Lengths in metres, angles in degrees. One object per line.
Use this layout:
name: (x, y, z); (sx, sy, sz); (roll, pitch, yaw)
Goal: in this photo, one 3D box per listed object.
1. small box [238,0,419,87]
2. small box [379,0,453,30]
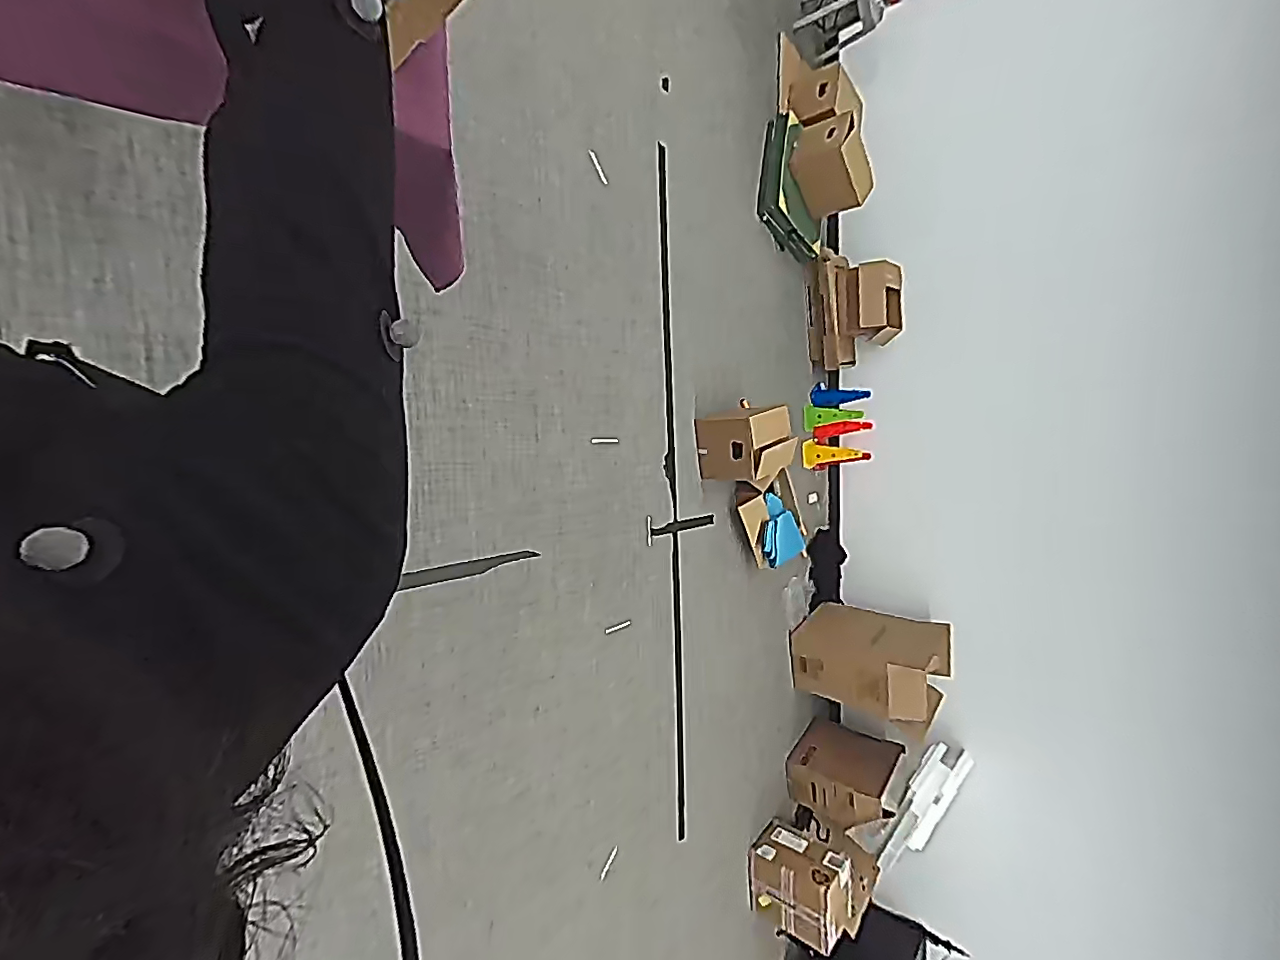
small box: (-0.389, -0.651, 0.679); (0.168, 0.176, 0.179); (6, 85, -51)
small box: (-0.258, -0.650, 0.580); (0.168, 0.176, 0.179); (13, 82, -50)
